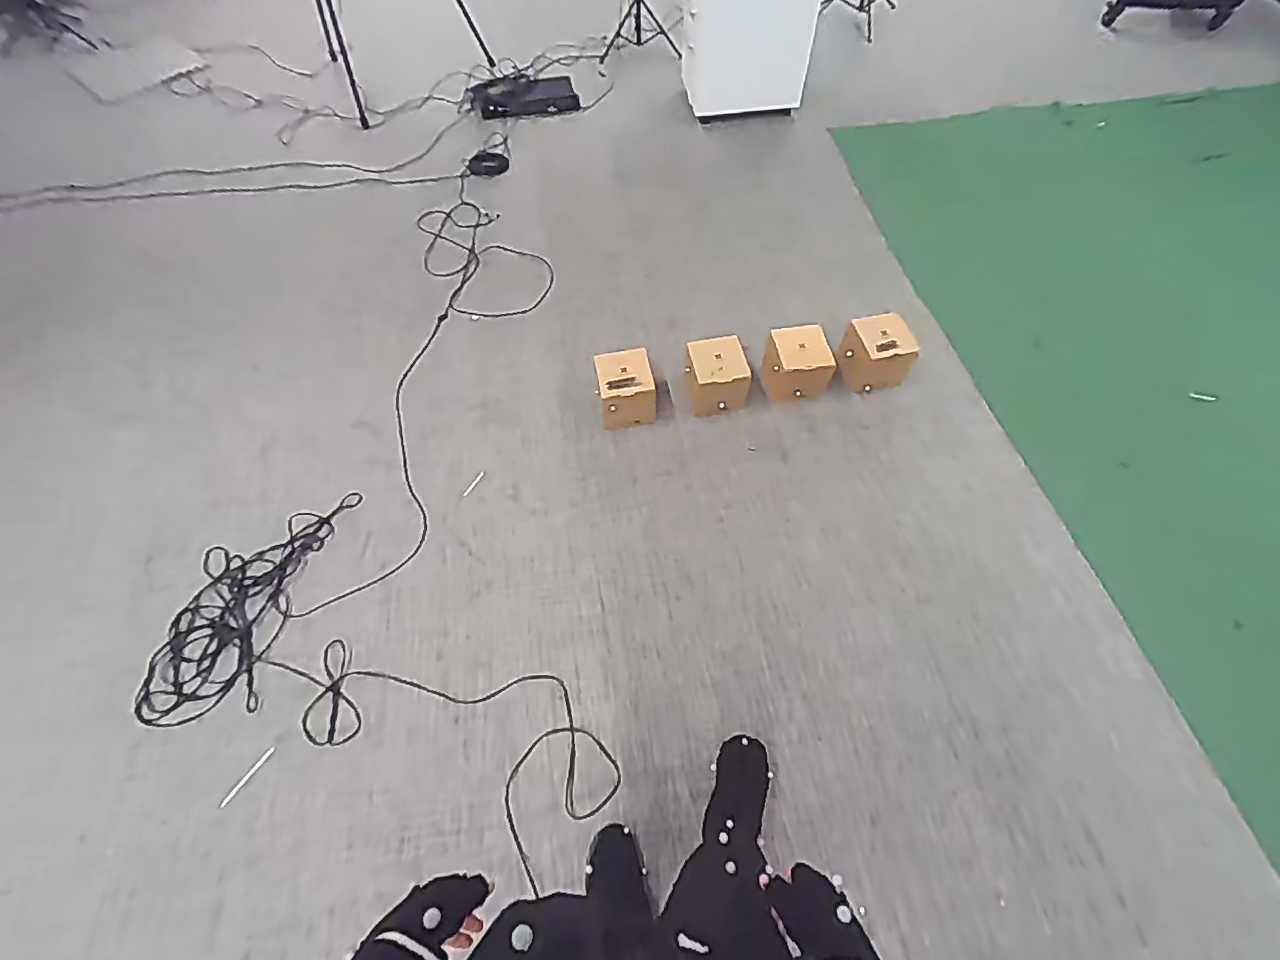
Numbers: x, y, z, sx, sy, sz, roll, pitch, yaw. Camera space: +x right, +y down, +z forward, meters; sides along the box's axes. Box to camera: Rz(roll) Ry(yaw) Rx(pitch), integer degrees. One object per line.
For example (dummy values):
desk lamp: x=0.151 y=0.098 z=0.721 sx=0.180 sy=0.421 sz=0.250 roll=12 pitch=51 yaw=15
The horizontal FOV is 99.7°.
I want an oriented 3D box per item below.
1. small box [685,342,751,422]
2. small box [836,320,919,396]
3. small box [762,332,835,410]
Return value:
small box: x=0.242 y=-0.312 z=1.735 sx=0.168 sy=0.176 sz=0.179 roll=-10 pitch=60 yaw=-4
small box: x=0.772 y=-0.394 z=1.778 sx=0.168 sy=0.176 sz=0.179 roll=-10 pitch=60 yaw=-5
small box: x=0.507 y=-0.353 z=1.758 sx=0.168 sy=0.176 sz=0.179 roll=-7 pitch=60 yaw=-4
